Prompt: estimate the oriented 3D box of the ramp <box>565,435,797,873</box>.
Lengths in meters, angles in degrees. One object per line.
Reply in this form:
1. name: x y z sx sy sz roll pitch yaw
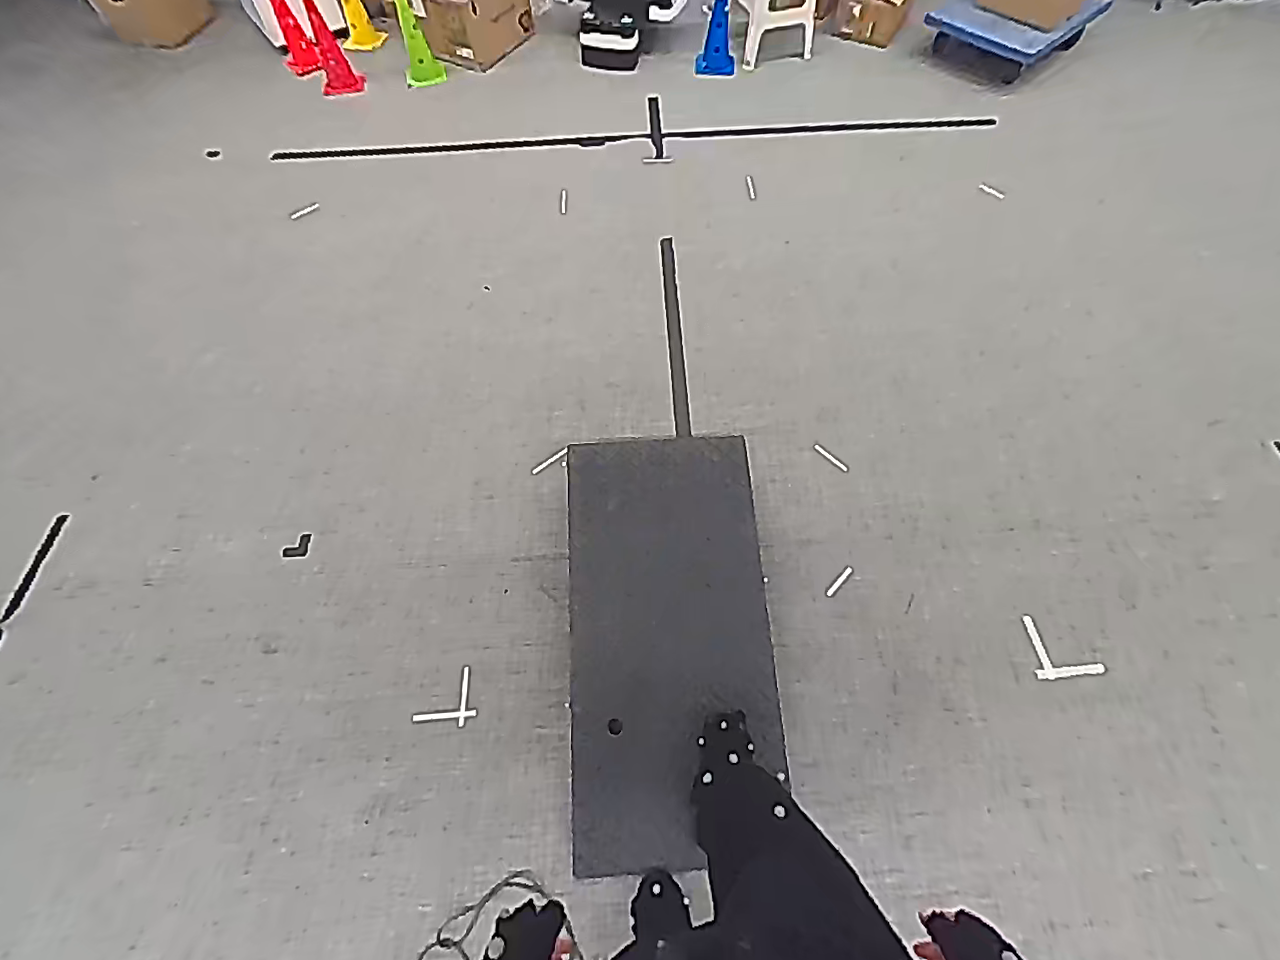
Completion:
1. ramp: 0.072 0.361 1.328 0.509 0.206 0.991 -4 61 -3
